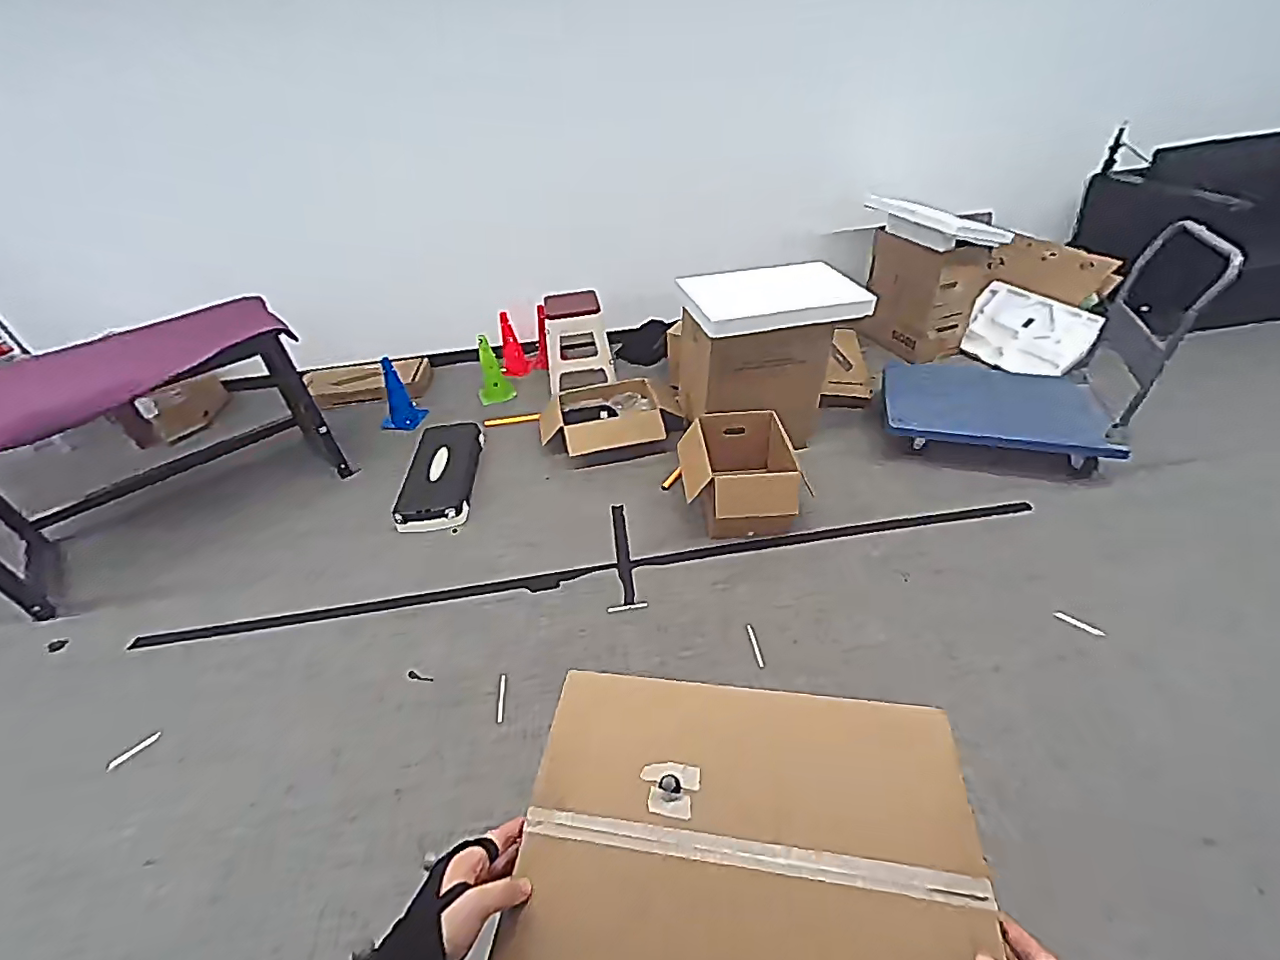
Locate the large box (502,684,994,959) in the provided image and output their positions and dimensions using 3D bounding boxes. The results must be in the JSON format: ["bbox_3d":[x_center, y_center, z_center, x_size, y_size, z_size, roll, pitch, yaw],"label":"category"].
[{"bbox_3d":[0.111,0.452,0.591,0.408,0.320,0.320,0,42,12],"label":"large box"}]
